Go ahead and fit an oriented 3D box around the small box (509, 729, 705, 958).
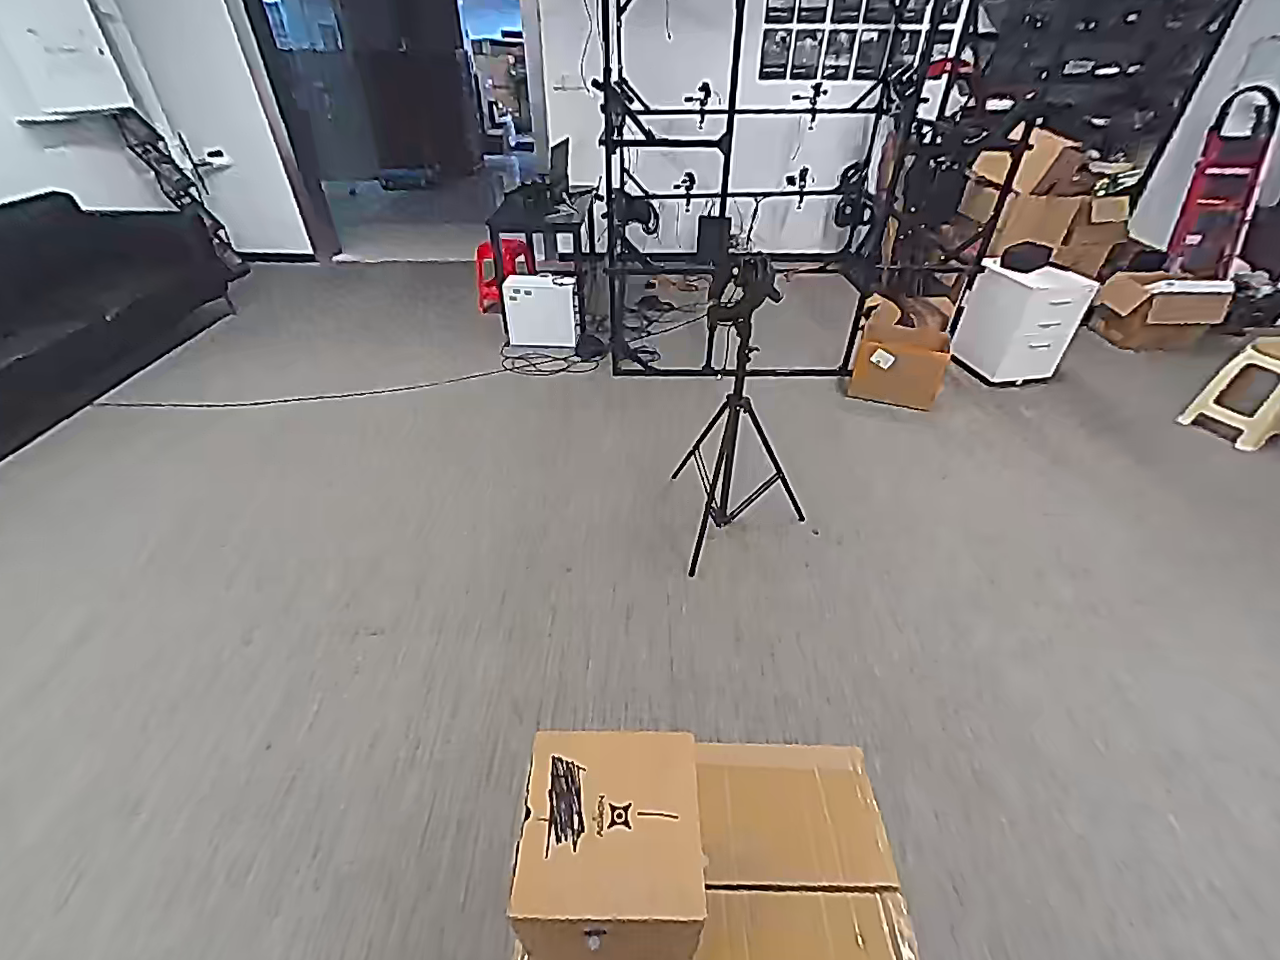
[{"bbox_3d":[-0.028,0.390,0.583,0.179,0.176,0.168,1,39,0],"label":"small box"}]
